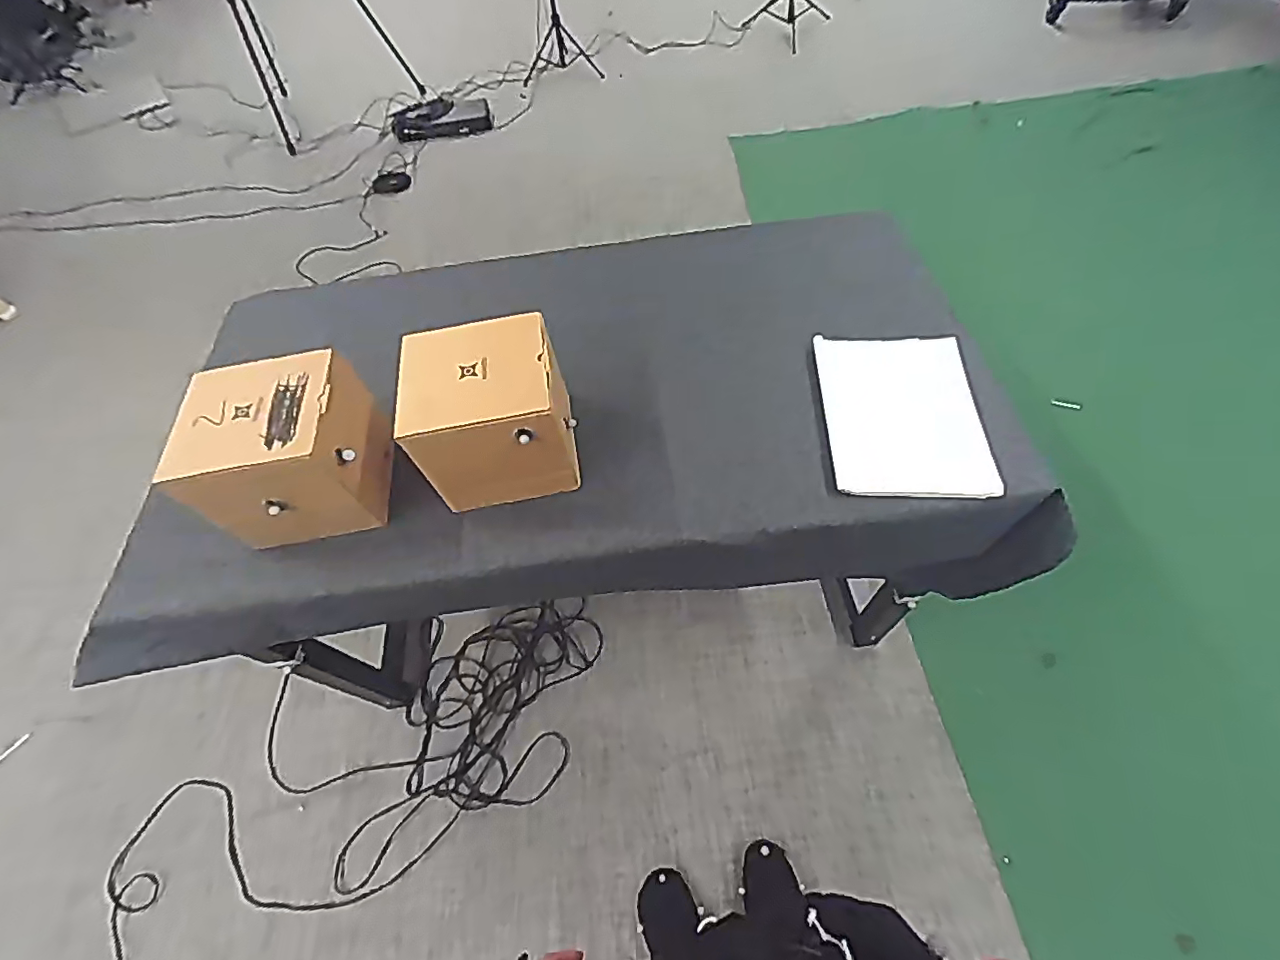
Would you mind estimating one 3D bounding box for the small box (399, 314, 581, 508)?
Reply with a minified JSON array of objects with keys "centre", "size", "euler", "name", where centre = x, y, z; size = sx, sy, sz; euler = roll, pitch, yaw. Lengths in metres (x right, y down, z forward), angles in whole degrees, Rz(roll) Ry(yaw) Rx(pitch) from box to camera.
[{"centre":[-0.183,-0.082,0.698],"size":[0.179,0.176,0.168],"euler":[-11,57,-2],"name":"small box"}]
